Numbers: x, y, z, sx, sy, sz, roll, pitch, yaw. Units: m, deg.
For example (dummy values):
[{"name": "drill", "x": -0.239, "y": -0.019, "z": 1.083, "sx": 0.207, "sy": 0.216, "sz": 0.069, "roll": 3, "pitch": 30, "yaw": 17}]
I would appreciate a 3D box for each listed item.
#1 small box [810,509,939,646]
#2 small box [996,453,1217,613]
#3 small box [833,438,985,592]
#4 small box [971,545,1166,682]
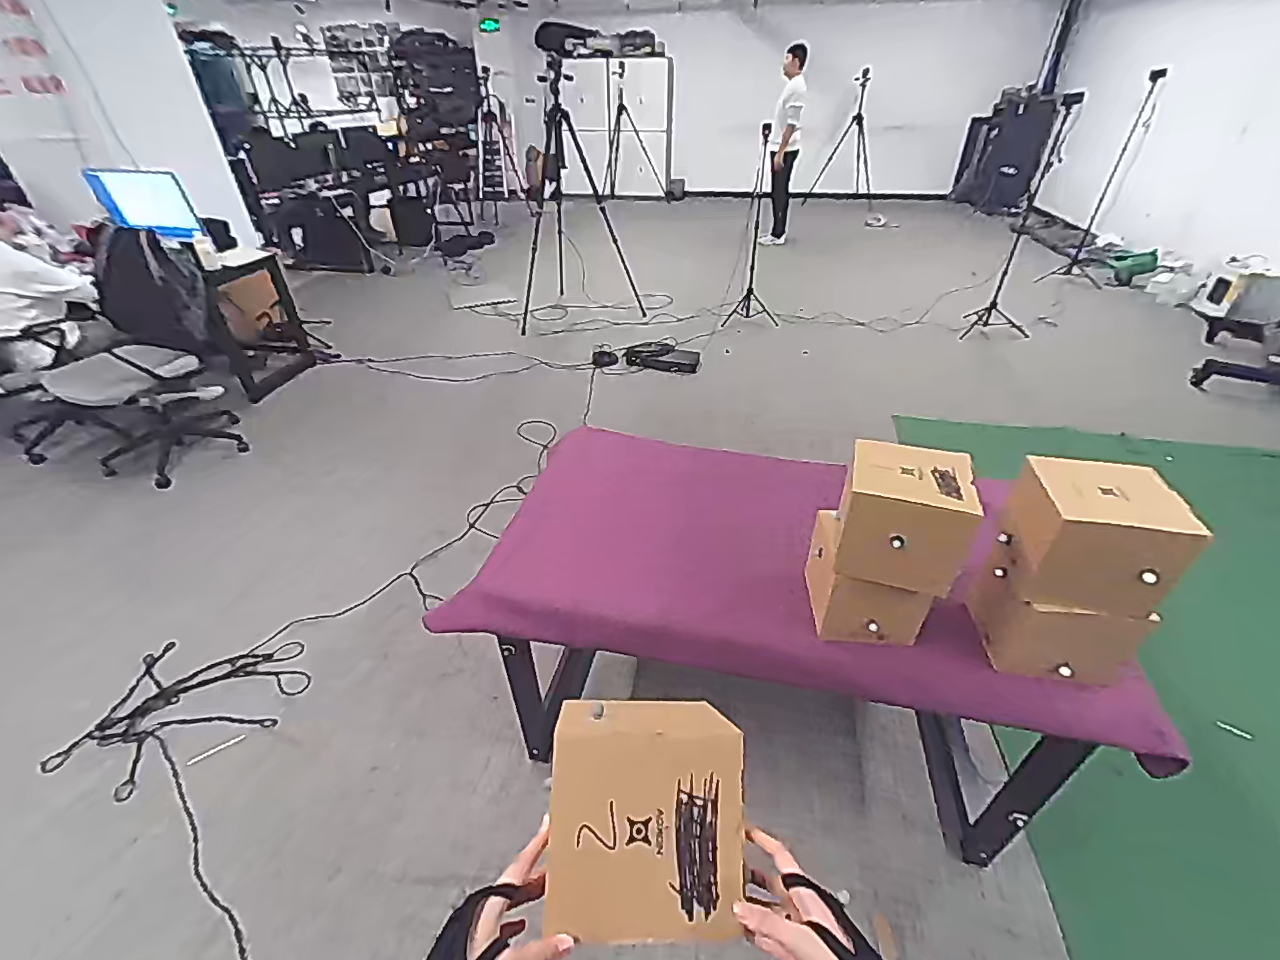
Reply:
[{"name": "small box", "x": 0.414, "y": 0.173, "z": 0.985, "sx": 0.168, "sy": 0.176, "sz": 0.179, "roll": 2, "pitch": 36, "yaw": 6}, {"name": "small box", "x": 0.684, "y": 0.080, "z": 0.823, "sx": 0.179, "sy": 0.176, "sz": 0.168, "roll": 7, "pitch": 37, "yaw": 13}, {"name": "small box", "x": 0.421, "y": 0.055, "z": 0.868, "sx": 0.179, "sy": 0.176, "sz": 0.168, "roll": 10, "pitch": 36, "yaw": 18}, {"name": "small box", "x": 0.699, "y": 0.218, "z": 0.911, "sx": 0.179, "sy": 0.176, "sz": 0.168, "roll": 4, "pitch": 36, "yaw": 8}]
